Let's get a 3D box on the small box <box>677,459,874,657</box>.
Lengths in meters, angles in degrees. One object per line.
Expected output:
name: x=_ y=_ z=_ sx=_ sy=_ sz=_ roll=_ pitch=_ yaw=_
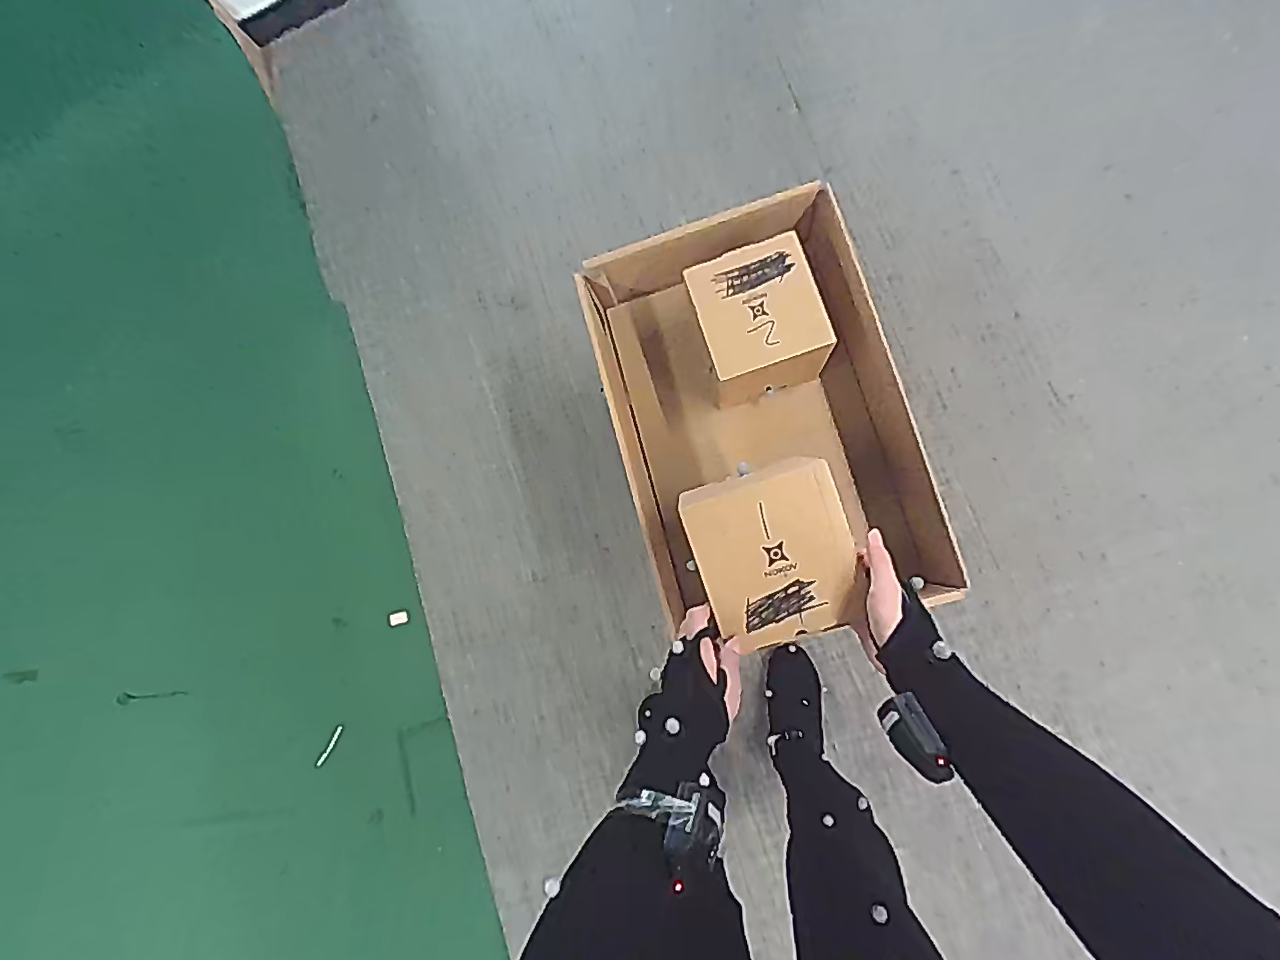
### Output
small box: x=0.151 y=0.081 z=0.649 sx=0.168 sy=0.176 sz=0.179 roll=-19 pitch=91 yaw=6
